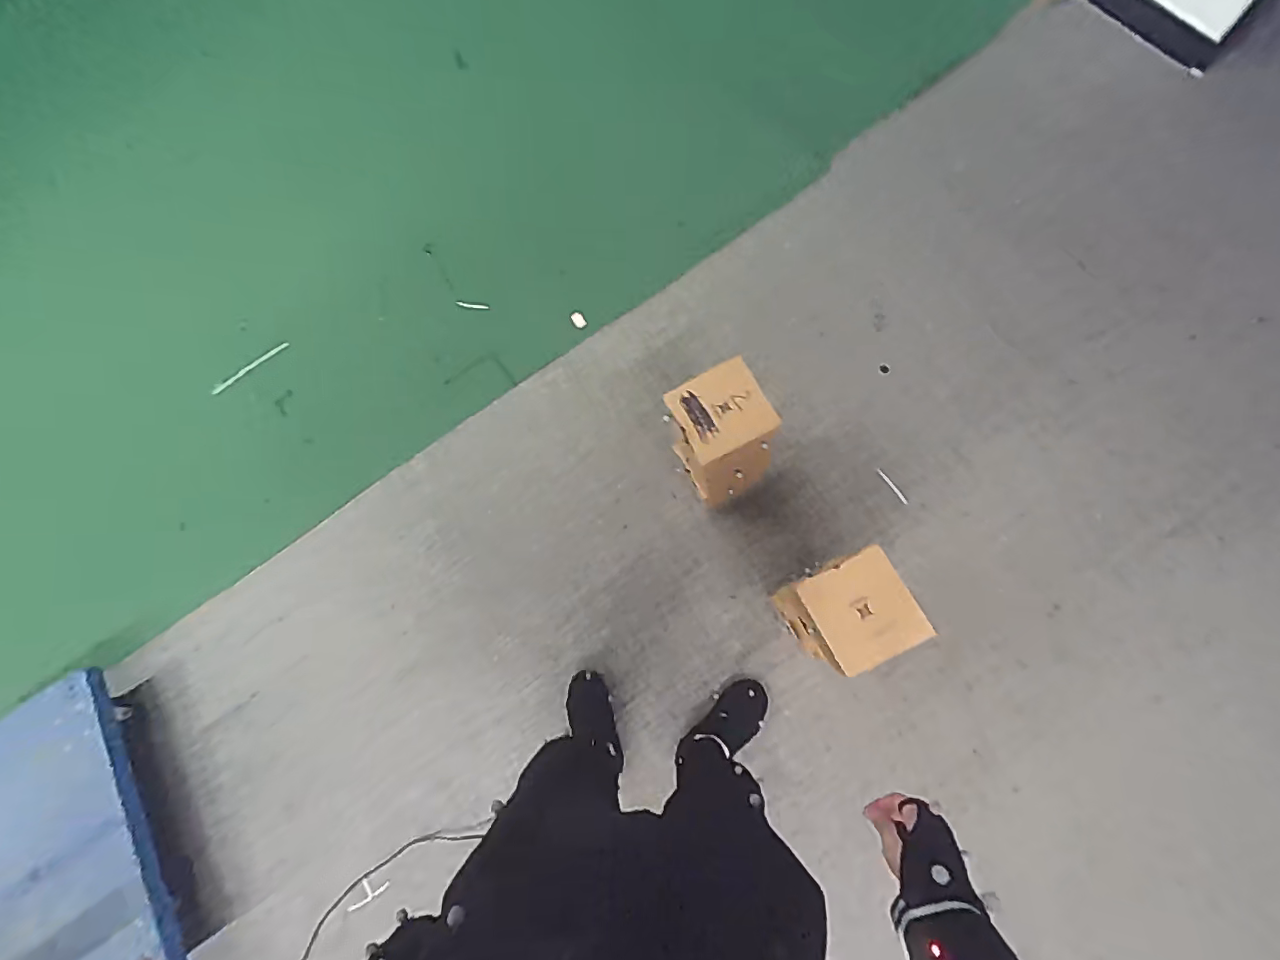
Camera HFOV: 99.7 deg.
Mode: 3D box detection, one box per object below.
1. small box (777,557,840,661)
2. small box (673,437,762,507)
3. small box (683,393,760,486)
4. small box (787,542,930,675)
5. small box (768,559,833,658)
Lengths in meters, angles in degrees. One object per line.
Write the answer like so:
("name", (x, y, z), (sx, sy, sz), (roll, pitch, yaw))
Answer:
("small box", (0.410, 0.268, 1.155), (0.179, 0.176, 0.168), (-27, 73, 2))
("small box", (0.207, -0.046, 1.436), (0.179, 0.176, 0.168), (-28, 74, 1))
("small box", (0.197, -0.093, 1.288), (0.168, 0.176, 0.179), (2, 76, 12))
("small box", (0.386, 0.236, 0.996), (0.168, 0.176, 0.179), (-27, 74, 3))
("small box", (0.428, 0.311, 1.313), (0.179, 0.176, 0.168), (-31, 74, 2))
